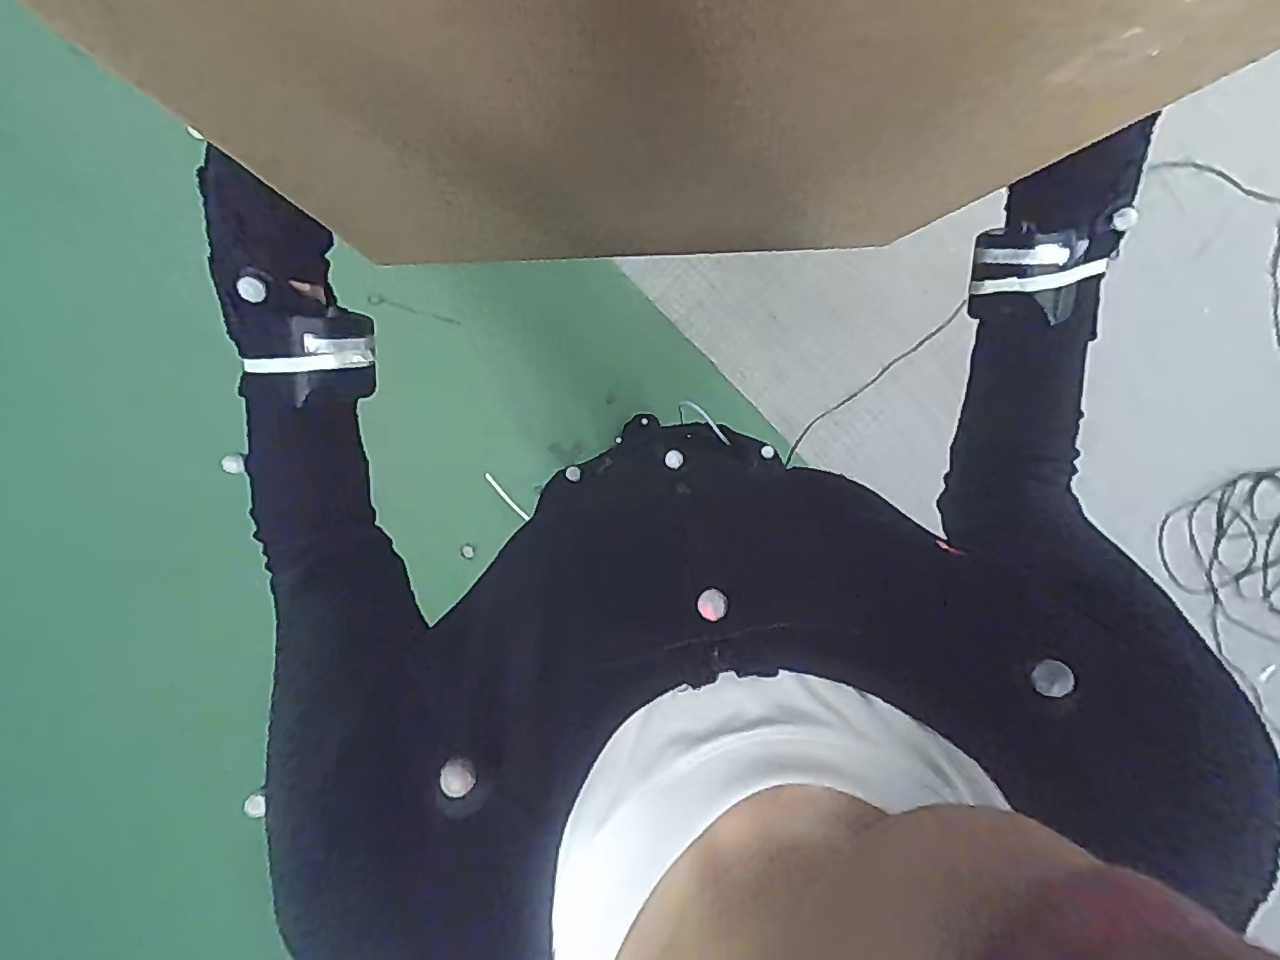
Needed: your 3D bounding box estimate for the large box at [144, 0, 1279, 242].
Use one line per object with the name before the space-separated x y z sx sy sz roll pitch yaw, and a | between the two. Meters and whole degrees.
large box | 0.022 -0.316 0.244 0.408 0.320 0.320 -5 100 -8
